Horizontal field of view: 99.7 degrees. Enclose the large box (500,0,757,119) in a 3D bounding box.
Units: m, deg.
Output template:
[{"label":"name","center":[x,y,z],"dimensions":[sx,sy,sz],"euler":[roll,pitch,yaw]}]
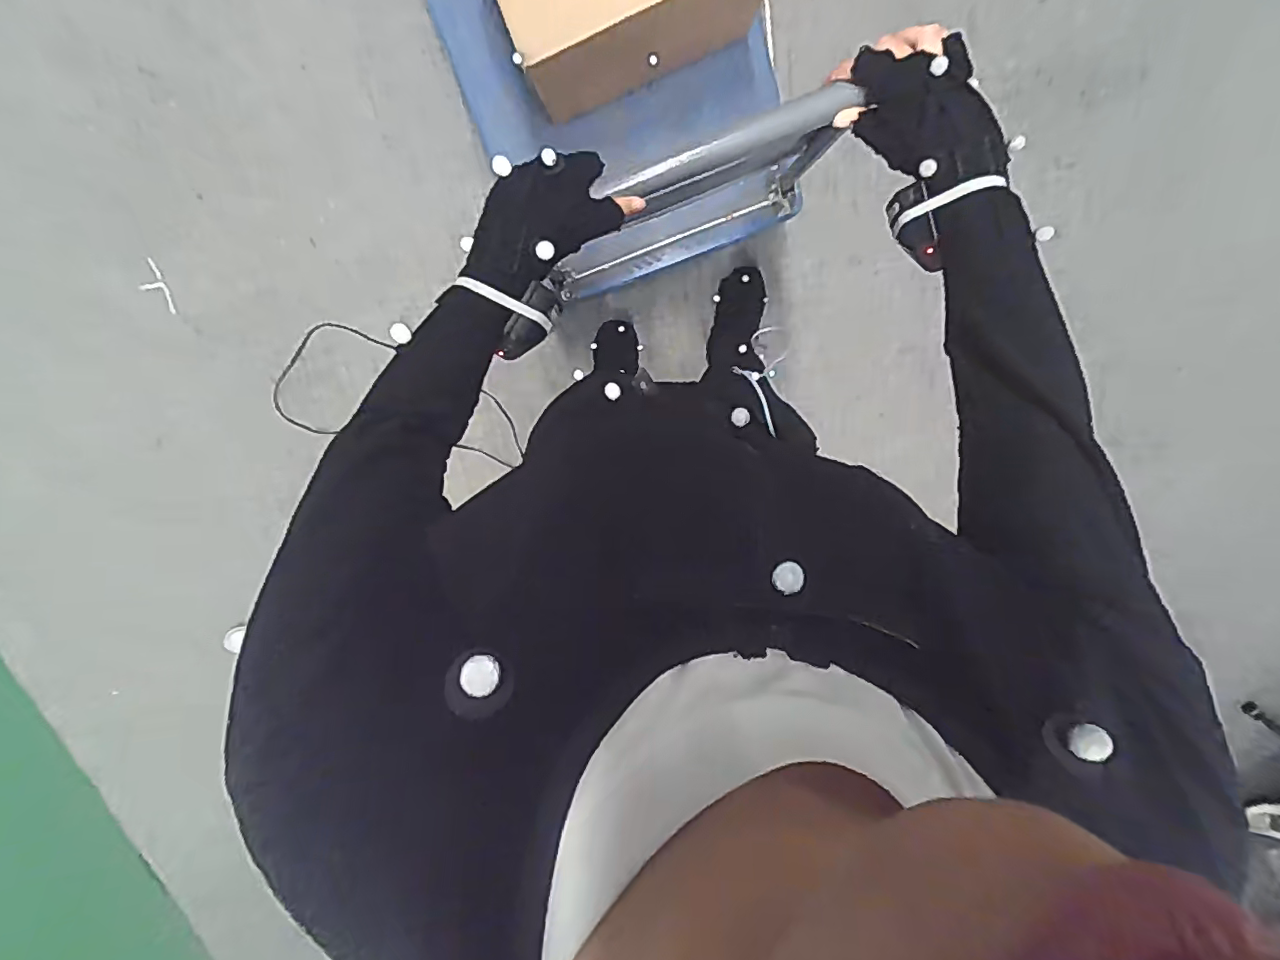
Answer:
[{"label":"large box","center":[-0.037,-0.865,0.867],"dimensions":[0.408,0.320,0.320],"euler":[-20,108,8]}]
